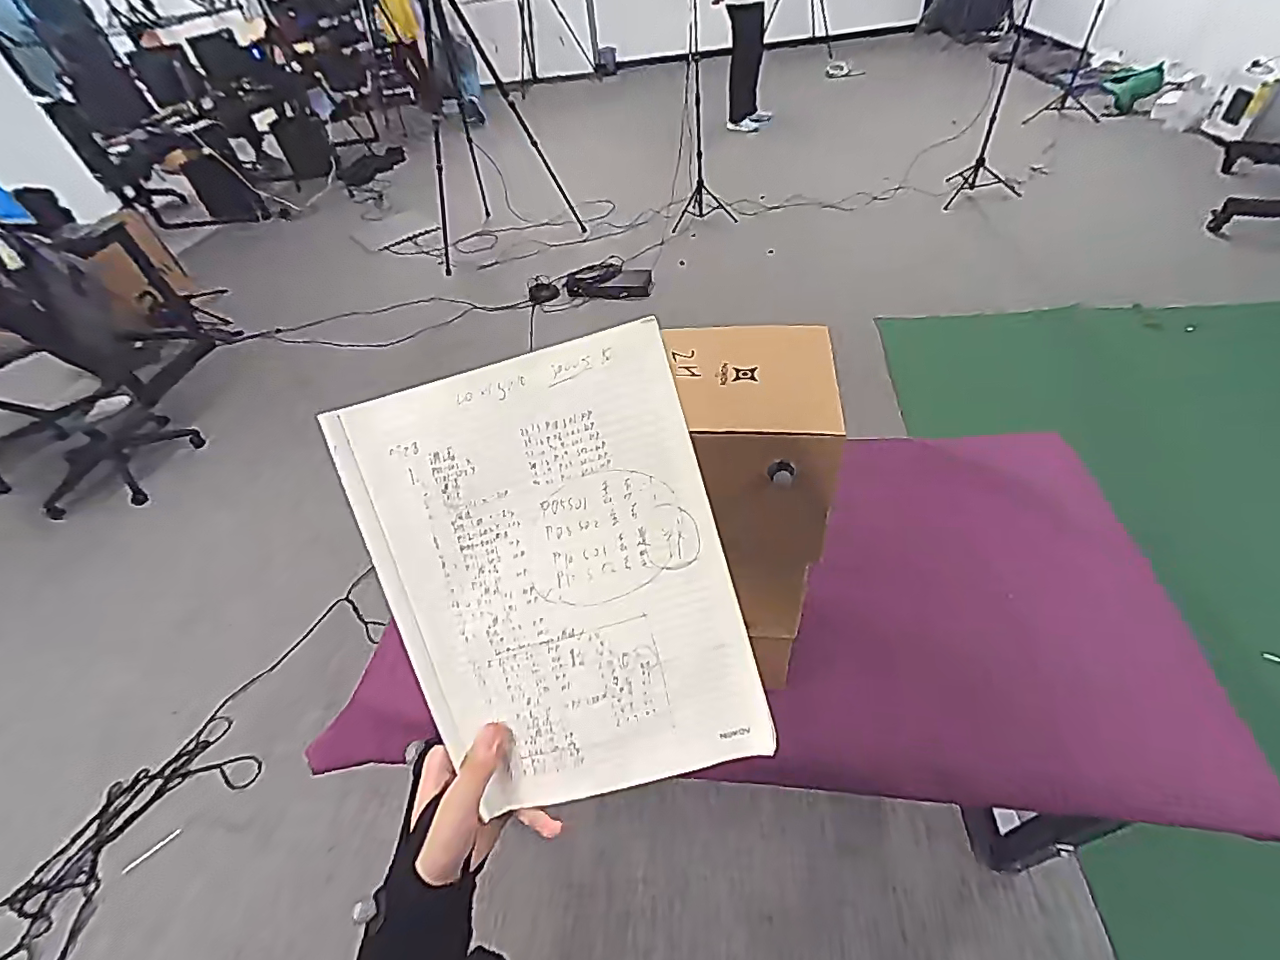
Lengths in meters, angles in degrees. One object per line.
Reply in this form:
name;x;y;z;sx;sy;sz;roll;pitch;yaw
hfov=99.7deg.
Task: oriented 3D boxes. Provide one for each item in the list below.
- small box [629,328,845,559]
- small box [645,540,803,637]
small box;0.096;-0.035;0.546;0.179;0.176;0.168;2;45;11
small box;0.106;0.076;0.669;0.168;0.176;0.179;1;45;9
